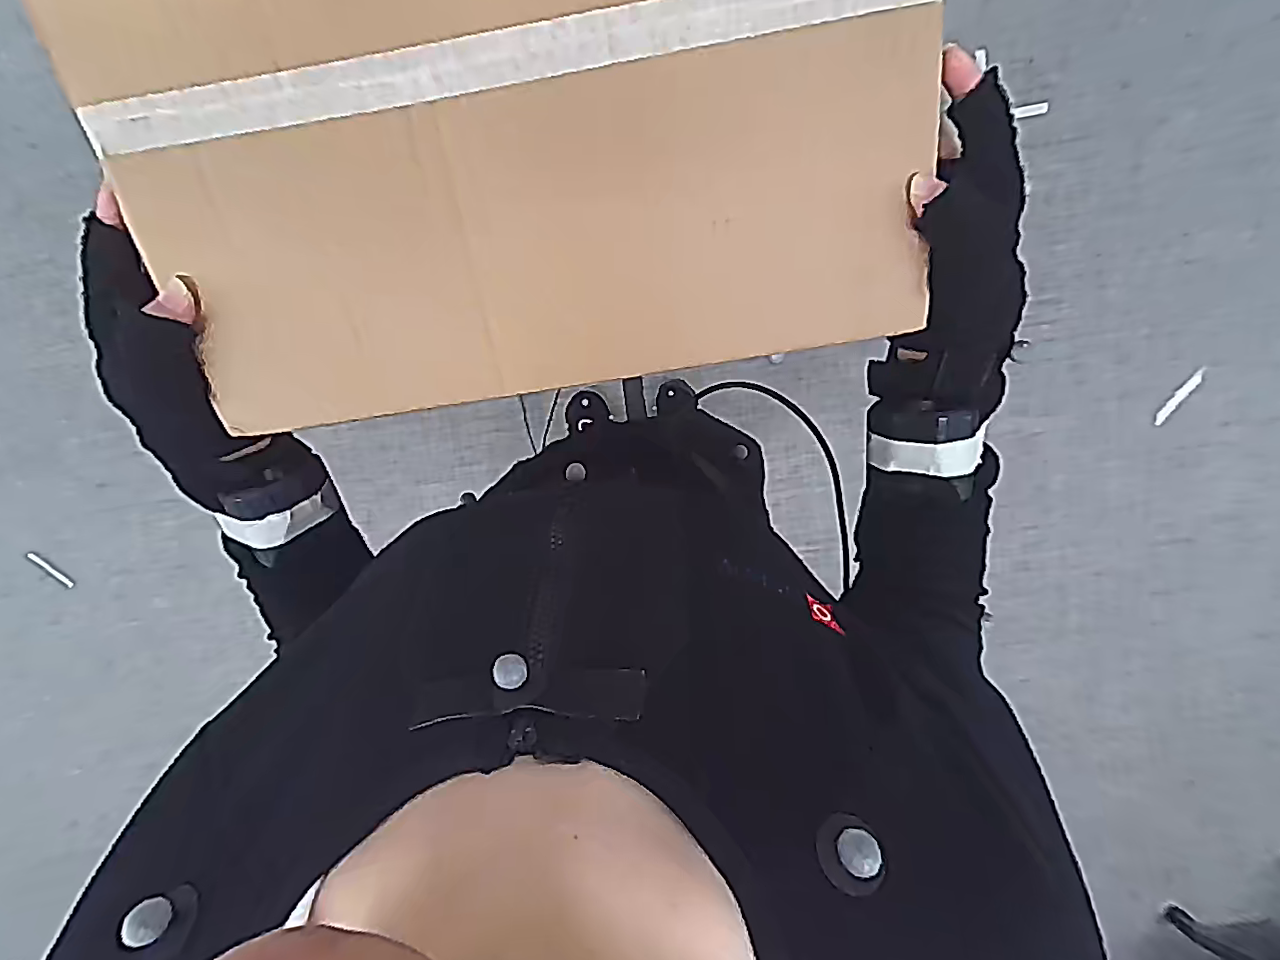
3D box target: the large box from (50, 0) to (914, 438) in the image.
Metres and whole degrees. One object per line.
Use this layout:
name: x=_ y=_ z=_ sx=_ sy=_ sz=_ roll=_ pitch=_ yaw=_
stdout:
large box: x=-0.066 y=-0.253 z=0.400 sx=0.408 sy=0.320 sz=0.320 roll=-9 pitch=112 yaw=3
